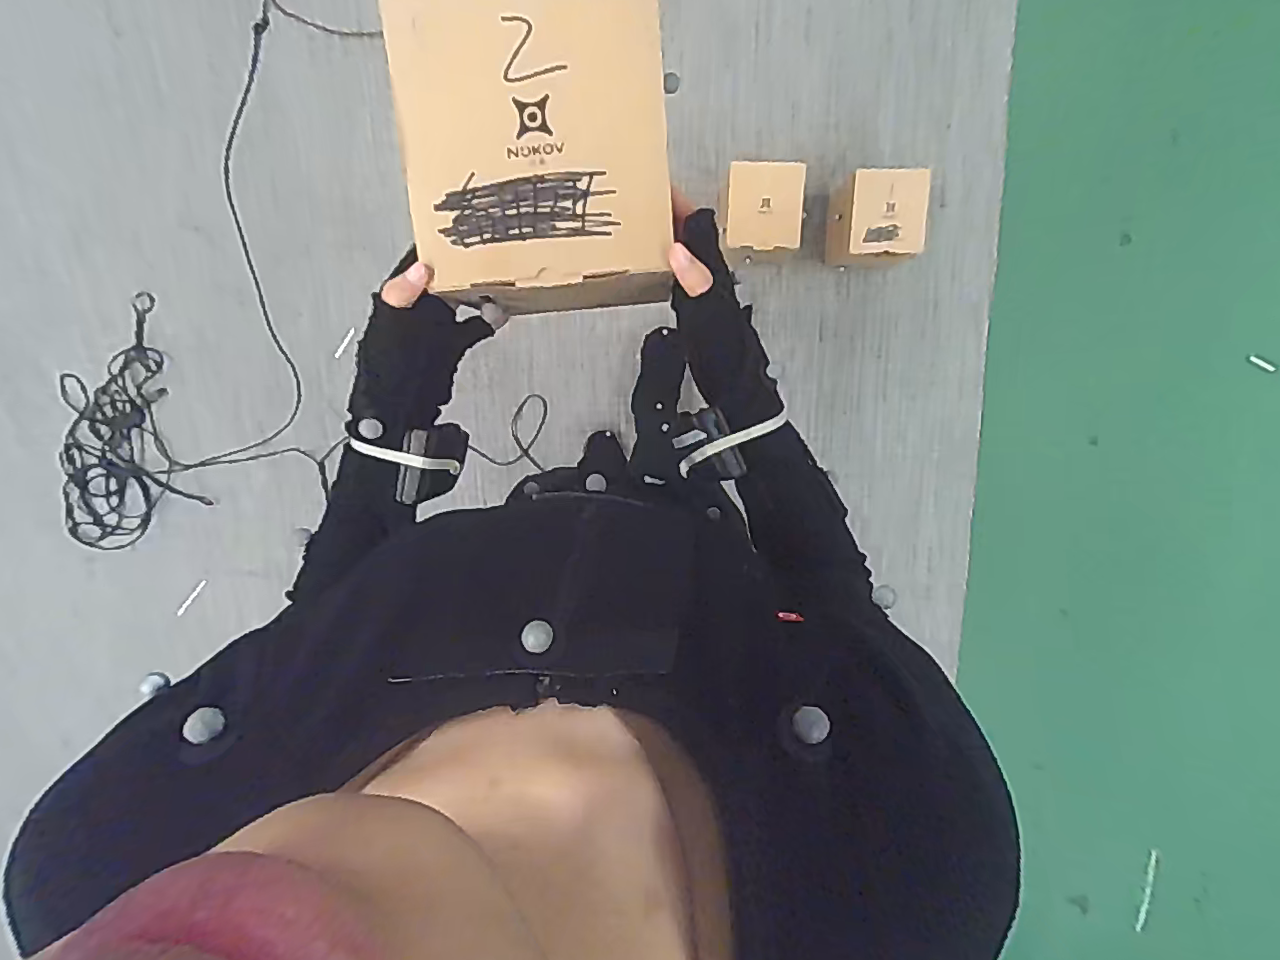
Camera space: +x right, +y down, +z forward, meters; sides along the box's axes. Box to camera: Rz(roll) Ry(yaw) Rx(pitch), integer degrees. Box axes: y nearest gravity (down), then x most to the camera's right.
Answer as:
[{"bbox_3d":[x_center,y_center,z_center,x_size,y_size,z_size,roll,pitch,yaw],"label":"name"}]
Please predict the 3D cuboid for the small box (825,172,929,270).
[{"bbox_3d":[0.540,-0.595,1.259,0.168,0.176,0.179,1,101,0],"label":"small box"}]

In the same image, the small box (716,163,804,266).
[{"bbox_3d":[0.271,-0.610,1.259,0.168,0.176,0.179,1,102,0],"label":"small box"}]
